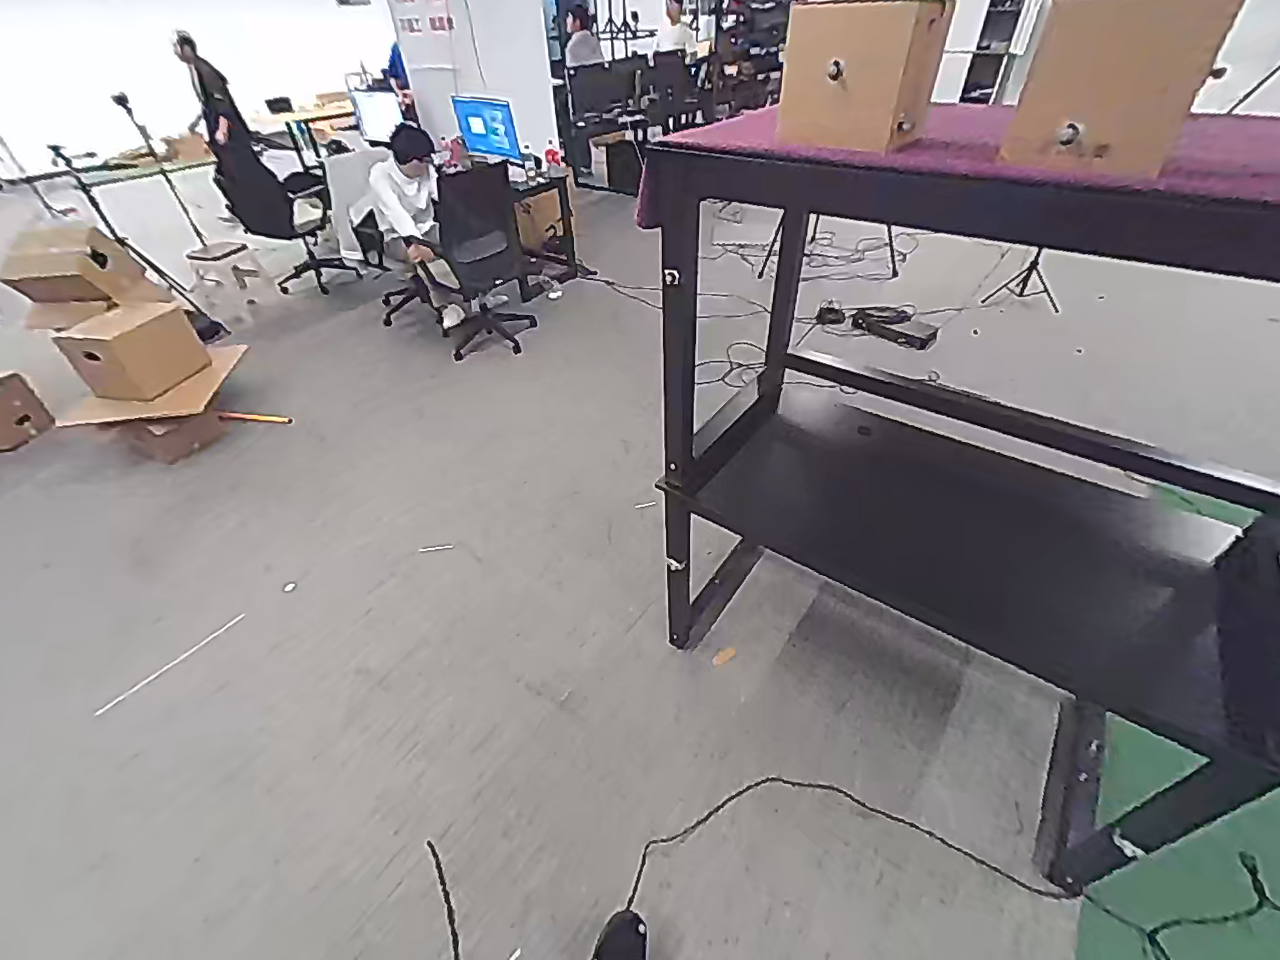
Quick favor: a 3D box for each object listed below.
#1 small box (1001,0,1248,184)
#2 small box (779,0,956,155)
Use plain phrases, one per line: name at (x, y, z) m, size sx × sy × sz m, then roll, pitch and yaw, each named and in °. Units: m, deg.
small box at (0.567, -0.471, 0.646) m, size 0.168 × 0.176 × 0.179 m, roll 27°, pitch 49°, yaw 31°
small box at (0.325, -0.590, 0.796) m, size 0.179 × 0.176 × 0.168 m, roll 25°, pitch 47°, yaw 29°
